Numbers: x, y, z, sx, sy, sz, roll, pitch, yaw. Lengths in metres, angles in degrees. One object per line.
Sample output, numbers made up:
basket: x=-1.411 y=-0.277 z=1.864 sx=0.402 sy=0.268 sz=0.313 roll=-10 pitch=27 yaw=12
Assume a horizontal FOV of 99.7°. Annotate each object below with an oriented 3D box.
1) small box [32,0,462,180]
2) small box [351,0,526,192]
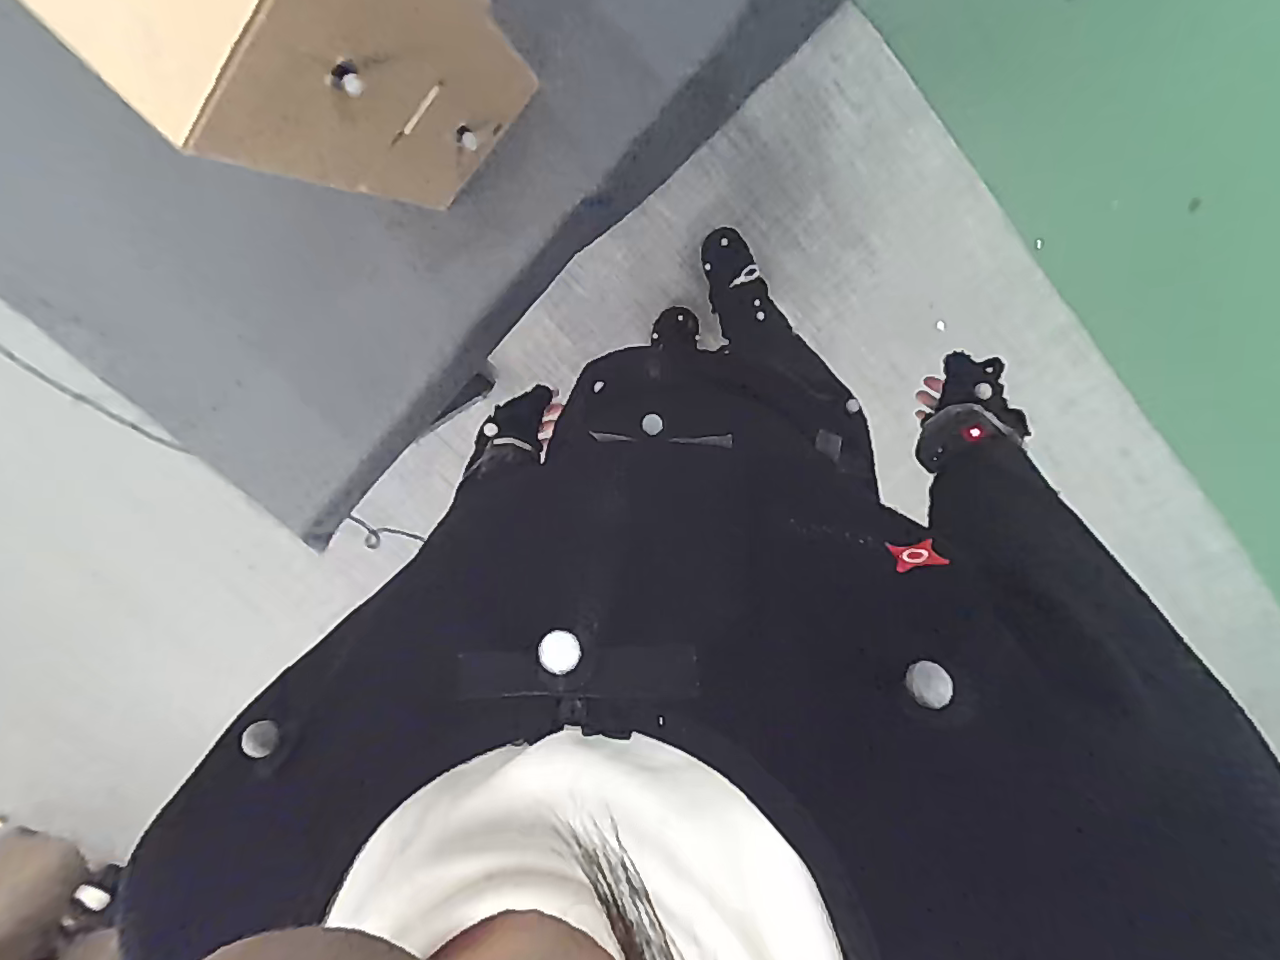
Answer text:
small box: x=-0.233 y=-0.319 z=0.323 sx=0.168 sy=0.176 sz=0.179 roll=42 pitch=108 yaw=-11
small box: x=-0.228 y=-0.382 z=0.476 sx=0.168 sy=0.176 sz=0.179 roll=-42 pitch=103 yaw=19
